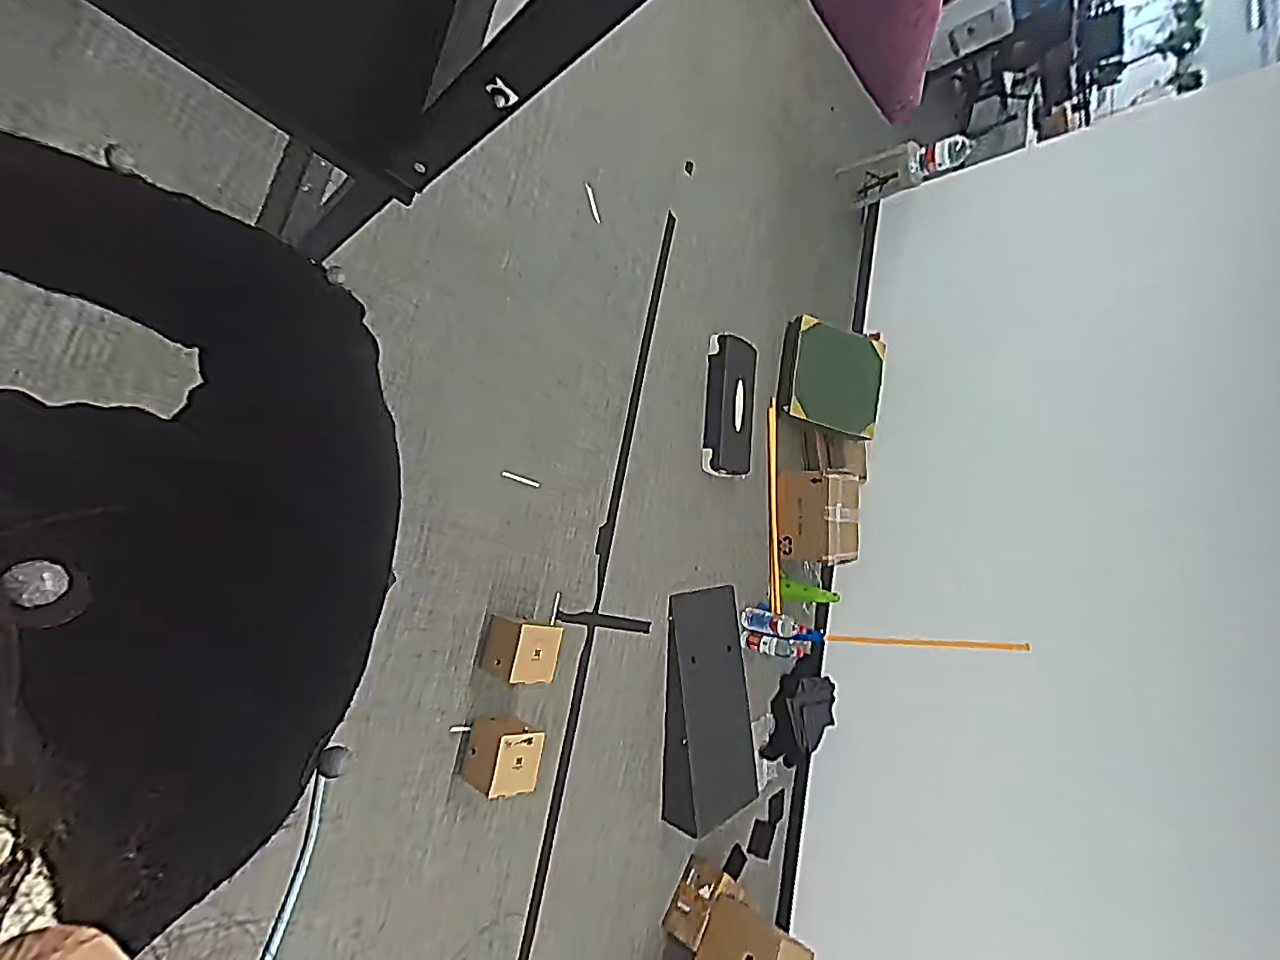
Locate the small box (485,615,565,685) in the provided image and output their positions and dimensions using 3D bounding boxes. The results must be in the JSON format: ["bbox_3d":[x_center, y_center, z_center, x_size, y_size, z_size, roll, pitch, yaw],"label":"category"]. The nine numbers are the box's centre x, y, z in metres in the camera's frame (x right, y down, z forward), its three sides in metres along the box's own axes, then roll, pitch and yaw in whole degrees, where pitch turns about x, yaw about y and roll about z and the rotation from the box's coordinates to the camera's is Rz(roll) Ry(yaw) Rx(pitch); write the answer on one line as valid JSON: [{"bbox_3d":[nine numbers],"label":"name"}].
[{"bbox_3d":[-0.370,0.539,1.719,0.168,0.176,0.179,22,75,-45],"label":"small box"}]

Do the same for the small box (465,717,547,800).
[{"bbox_3d":[-0.418,0.853,1.674,0.168,0.176,0.179,22,76,-45],"label":"small box"}]
